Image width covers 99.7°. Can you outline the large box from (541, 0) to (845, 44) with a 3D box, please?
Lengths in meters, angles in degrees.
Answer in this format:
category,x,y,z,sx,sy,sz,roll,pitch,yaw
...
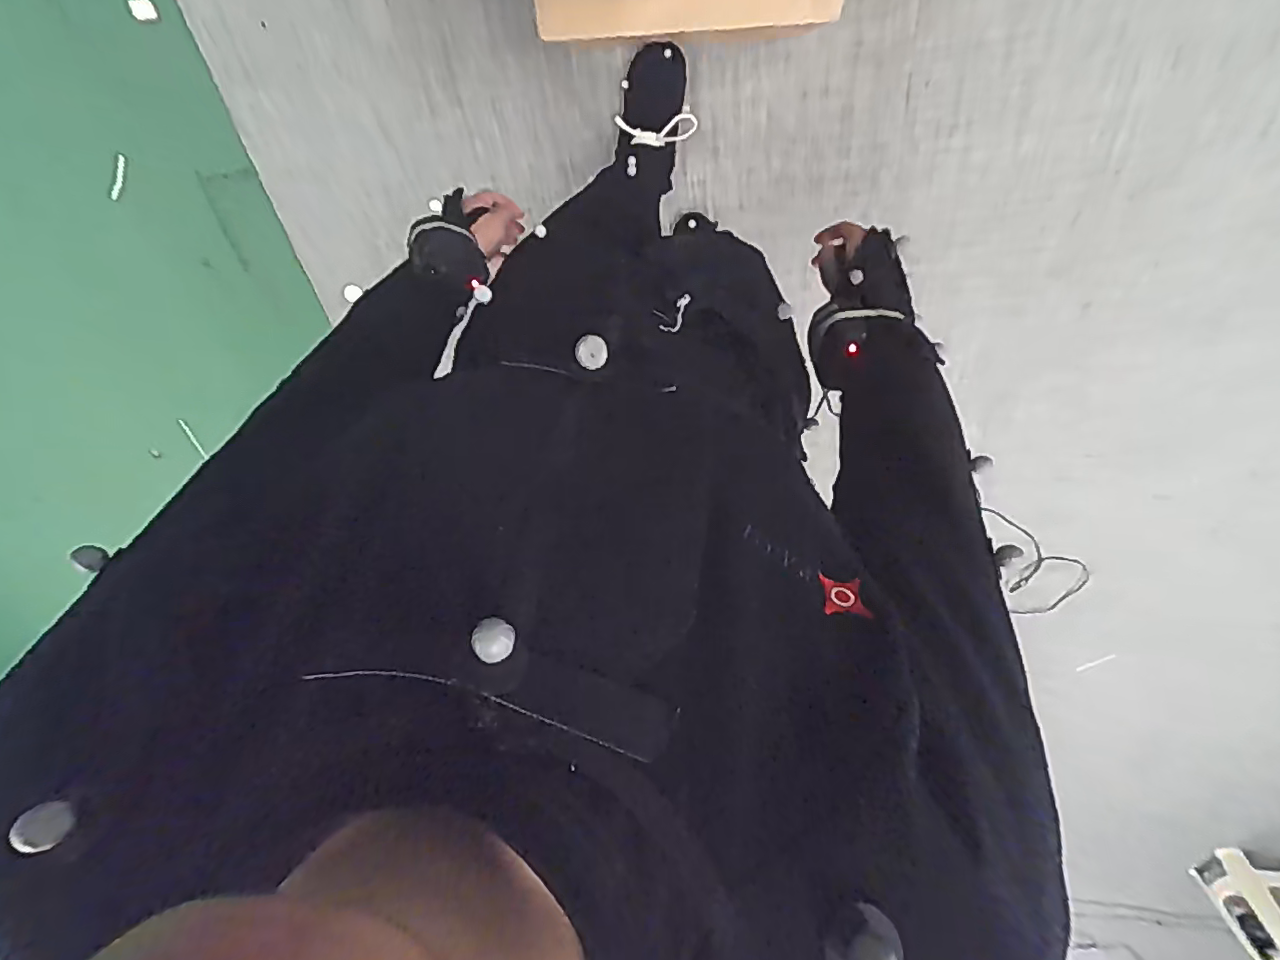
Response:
category,x,y,z,sx,sy,sz,roll,pitch,yaw
large box,0.068,-0.816,0.742,0.408,0.320,0.320,0,129,6
